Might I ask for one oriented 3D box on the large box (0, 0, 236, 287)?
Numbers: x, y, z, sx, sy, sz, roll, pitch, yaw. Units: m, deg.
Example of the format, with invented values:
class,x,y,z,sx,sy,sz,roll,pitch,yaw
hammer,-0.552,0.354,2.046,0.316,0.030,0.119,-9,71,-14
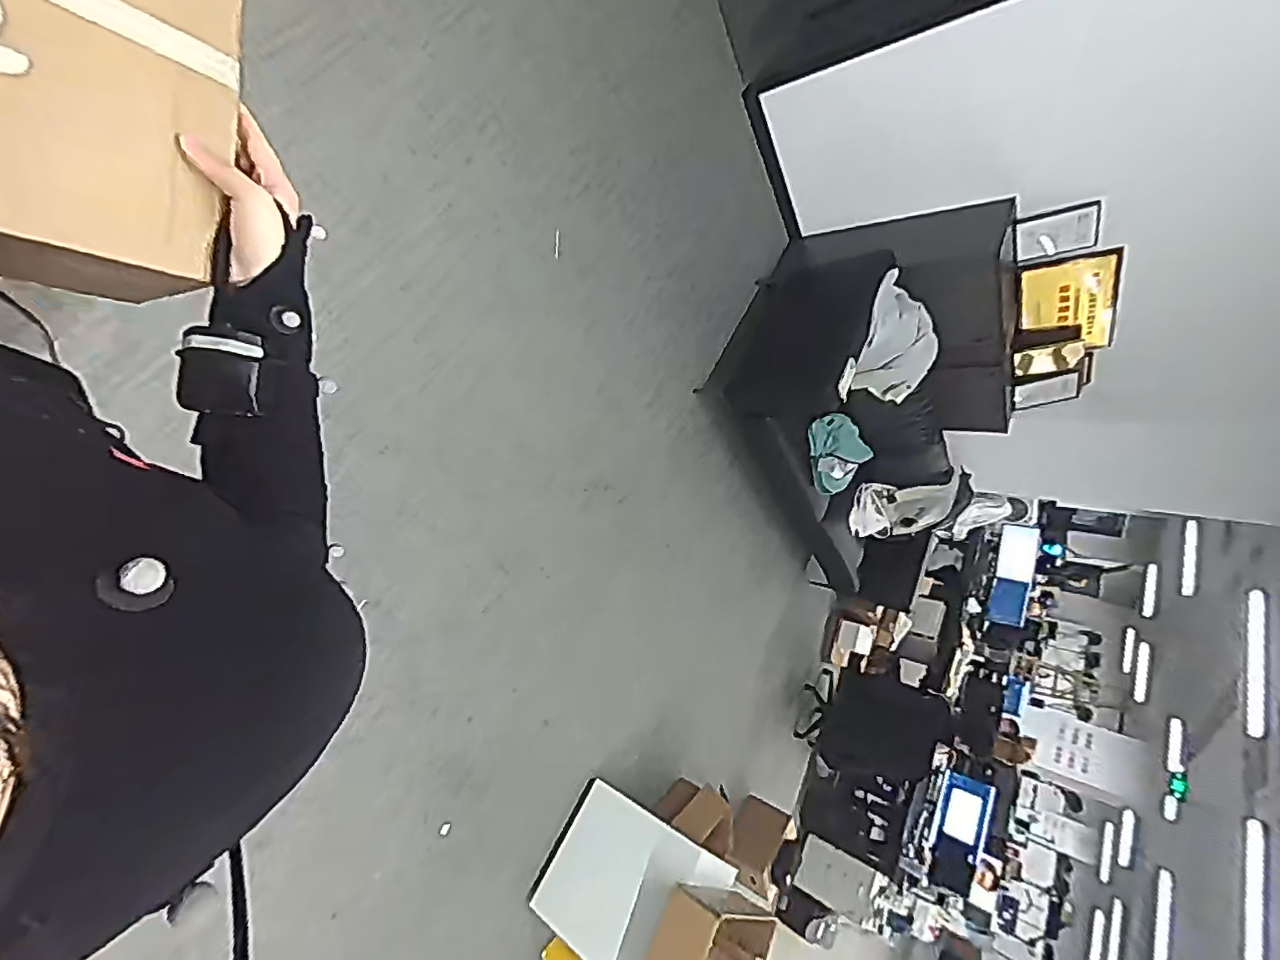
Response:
class,x,y,z,sx,sy,sz,roll,pitch,yaw
large box,-0.554,-0.341,0.347,0.408,0.320,0.320,1,99,-54
